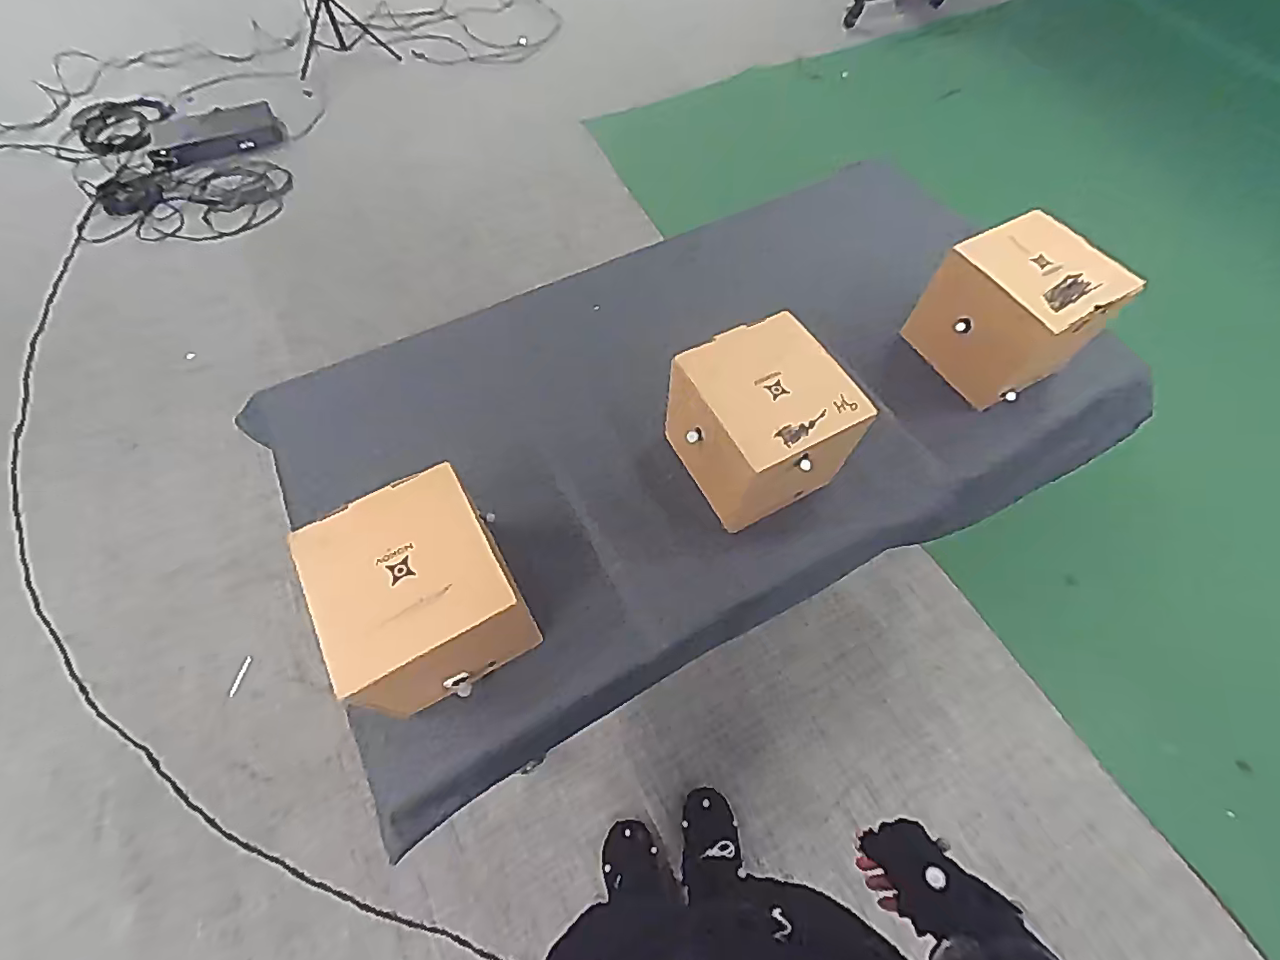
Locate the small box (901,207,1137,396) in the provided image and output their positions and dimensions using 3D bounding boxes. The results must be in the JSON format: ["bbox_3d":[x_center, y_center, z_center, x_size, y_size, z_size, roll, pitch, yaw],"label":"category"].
[{"bbox_3d":[0.520,-0.243,0.772,0.168,0.176,0.179,-25,65,-13],"label":"small box"}]

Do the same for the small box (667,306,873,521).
[{"bbox_3d":[0.145,-0.078,0.678,0.168,0.176,0.179,-25,66,-13],"label":"small box"}]

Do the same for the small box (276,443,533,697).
[{"bbox_3d":[-0.227,0.099,0.554,0.168,0.176,0.179,-26,66,-12],"label":"small box"}]
